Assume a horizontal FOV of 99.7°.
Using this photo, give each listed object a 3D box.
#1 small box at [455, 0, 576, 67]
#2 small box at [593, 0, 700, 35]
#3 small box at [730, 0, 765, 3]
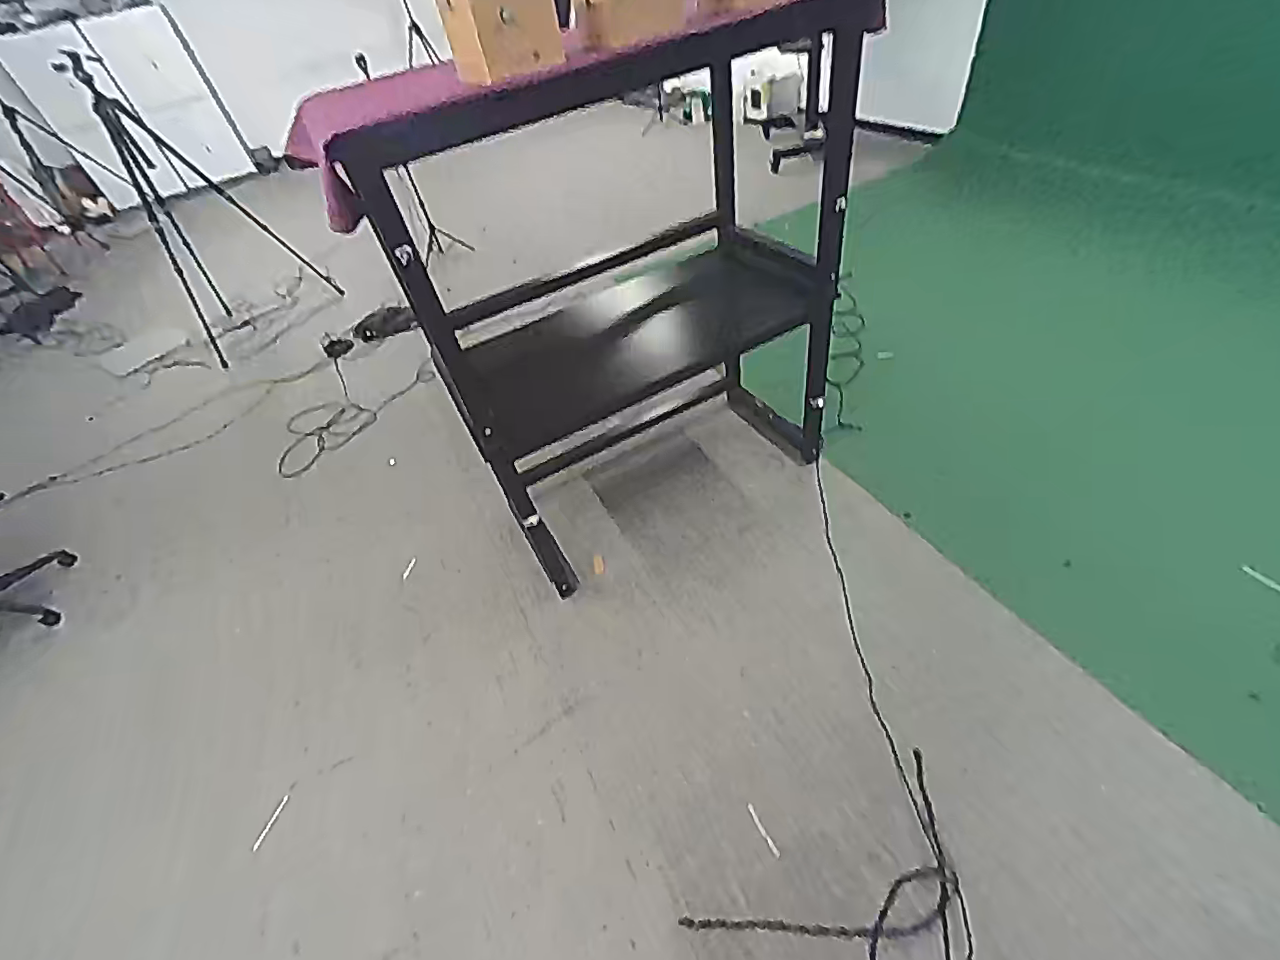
[{"bbox_3d":[-0.238,-0.891,1.006,0.168,0.176,0.179,-29,47,-17],"label":"small box"},{"bbox_3d":[0.003,-1.001,1.064,0.179,0.176,0.168,-24,47,-11],"label":"small box"},{"bbox_3d":[0.270,-1.135,1.144,0.179,0.176,0.168,-23,46,-10],"label":"small box"}]
